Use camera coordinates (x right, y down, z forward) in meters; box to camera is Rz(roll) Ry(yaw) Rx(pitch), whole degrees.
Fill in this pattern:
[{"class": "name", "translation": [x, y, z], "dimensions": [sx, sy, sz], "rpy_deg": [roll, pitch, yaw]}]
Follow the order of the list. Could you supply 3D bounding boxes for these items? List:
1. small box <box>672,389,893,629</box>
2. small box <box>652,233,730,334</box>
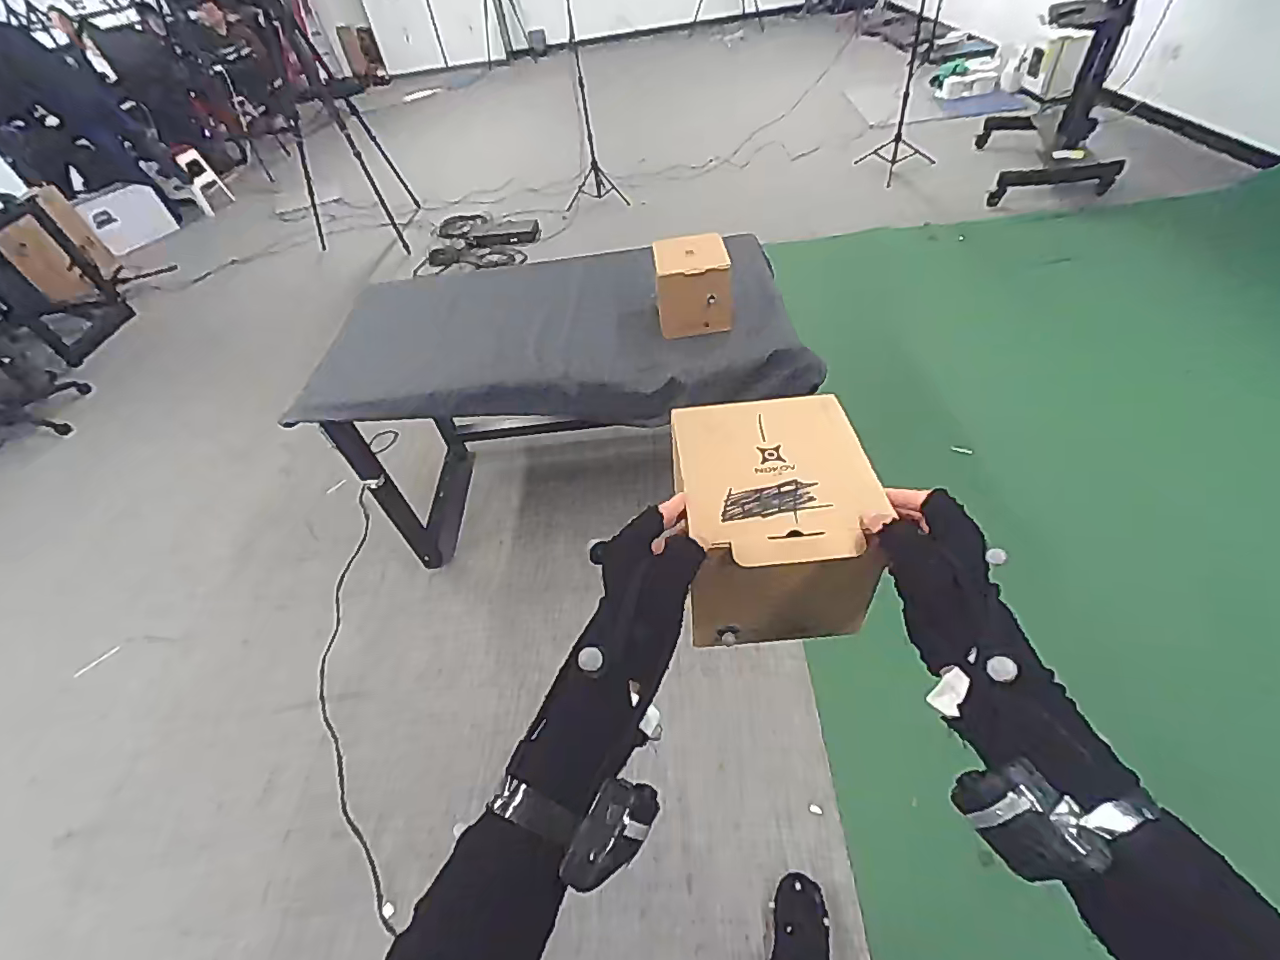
[{"class": "small box", "translation": [0.124, 0.035, 0.540], "dimensions": [0.168, 0.176, 0.179], "rpy_deg": [-6, 45, 2]}, {"class": "small box", "translation": [0.123, -0.465, 1.297], "dimensions": [0.168, 0.176, 0.179], "rpy_deg": [-7, 46, 2]}]
